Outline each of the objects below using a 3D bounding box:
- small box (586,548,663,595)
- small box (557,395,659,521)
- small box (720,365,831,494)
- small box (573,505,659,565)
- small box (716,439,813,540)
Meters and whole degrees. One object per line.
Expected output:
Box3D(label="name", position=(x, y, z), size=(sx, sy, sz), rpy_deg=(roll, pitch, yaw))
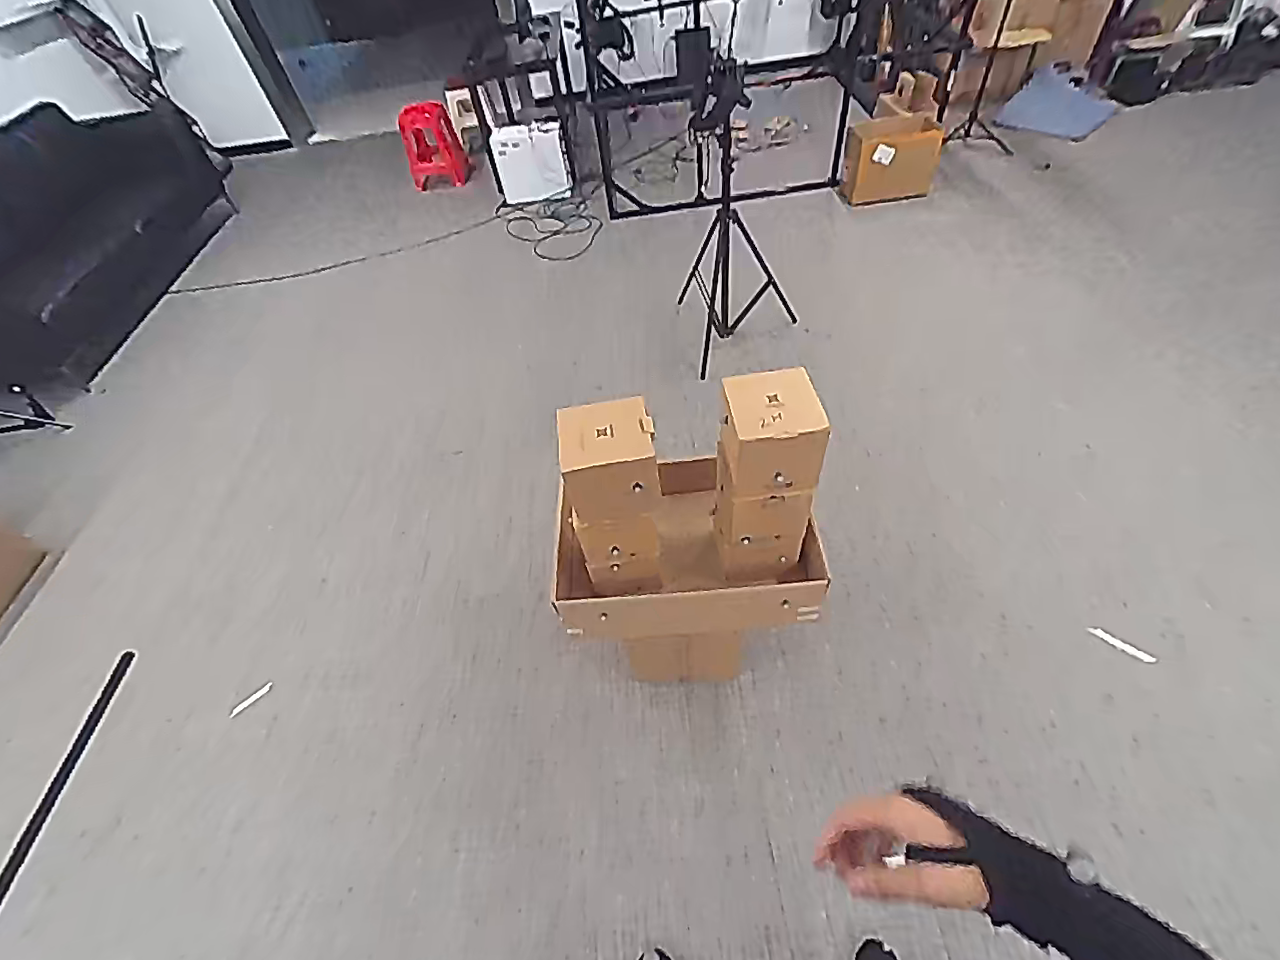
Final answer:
Box3D(label="small box", position=(-0.039, 0.158, 1.322), size=(0.168, 0.176, 0.179), rpy_deg=(-9, 51, 2))
Box3D(label="small box", position=(-0.059, -0.040, 1.062), size=(0.179, 0.176, 0.168), rpy_deg=(-10, 52, 0))
Box3D(label="small box", position=(0.253, -0.096, 1.059), size=(0.168, 0.176, 0.179), rpy_deg=(-8, 52, 1))
Box3D(label="small box", position=(-0.055, 0.062, 1.191), size=(0.168, 0.176, 0.179), rpy_deg=(-11, 52, -1))
Box3D(label="small box", position=(0.262, 0.018, 1.178), size=(0.168, 0.176, 0.179), rpy_deg=(-8, 51, 0))
